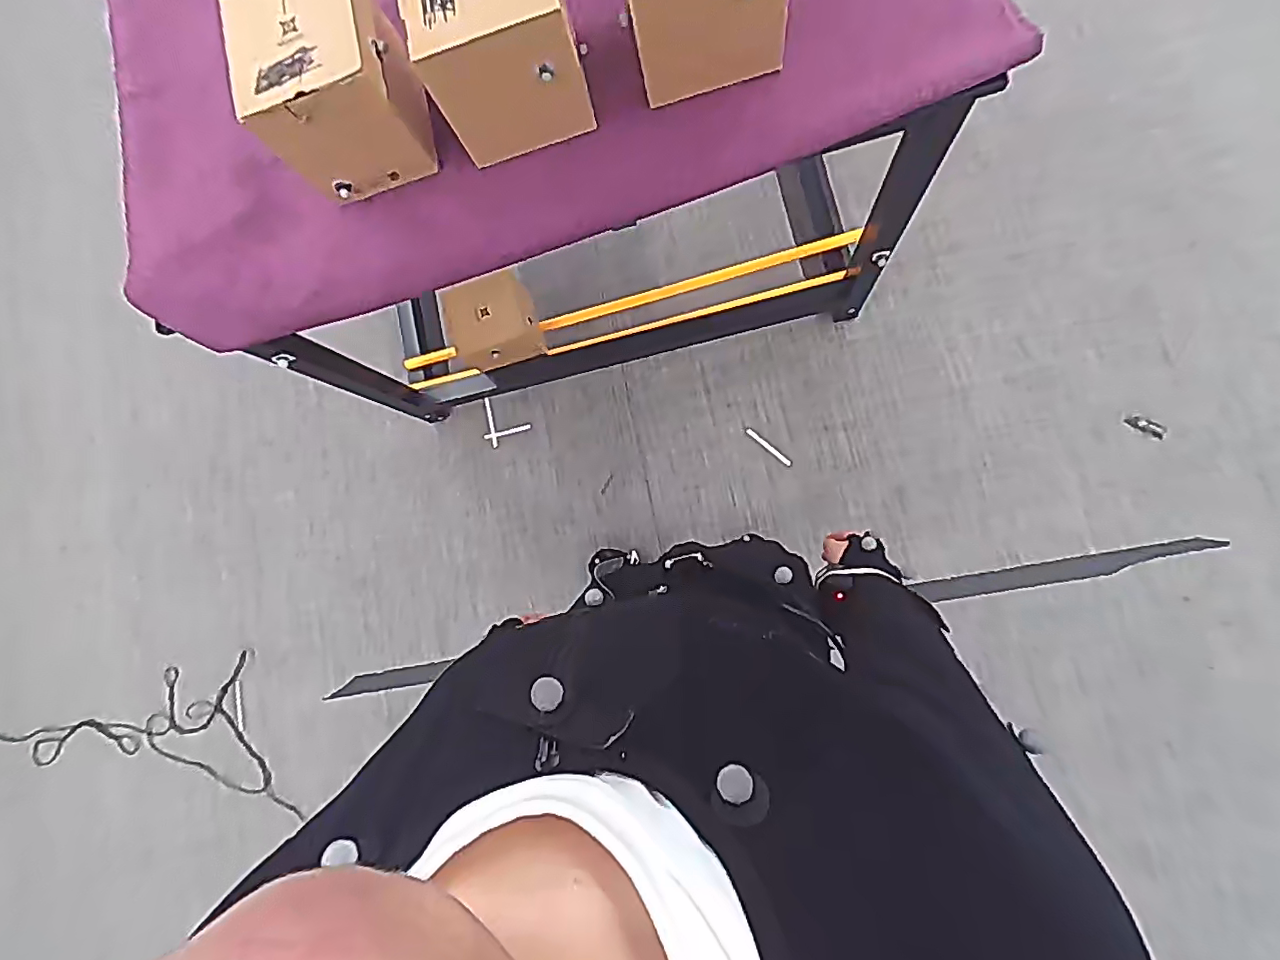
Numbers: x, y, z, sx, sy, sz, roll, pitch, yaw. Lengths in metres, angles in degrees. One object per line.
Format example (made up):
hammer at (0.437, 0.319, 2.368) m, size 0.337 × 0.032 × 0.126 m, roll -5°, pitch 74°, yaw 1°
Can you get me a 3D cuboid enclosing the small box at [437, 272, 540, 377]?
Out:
small box at (-0.355, -0.367, 1.307) m, size 0.179 × 0.176 × 0.168 m, roll -17°, pitch 83°, yaw 7°
